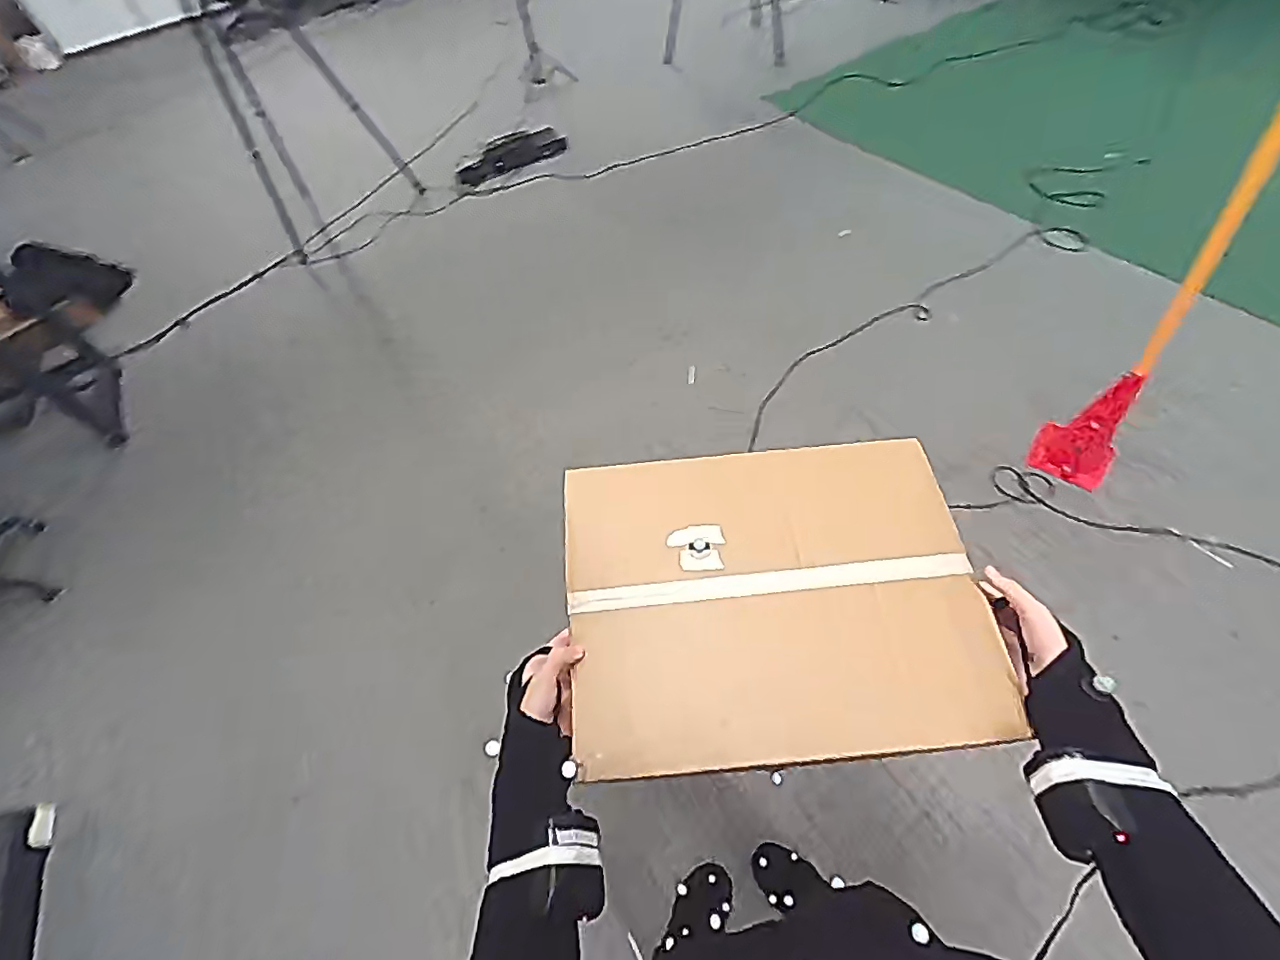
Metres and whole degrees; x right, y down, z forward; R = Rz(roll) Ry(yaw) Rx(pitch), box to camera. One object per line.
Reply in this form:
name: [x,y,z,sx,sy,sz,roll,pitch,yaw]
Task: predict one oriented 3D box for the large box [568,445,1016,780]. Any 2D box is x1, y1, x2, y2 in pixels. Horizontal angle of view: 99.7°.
large box: [0.137,0.183,0.682,0.408,0.320,0.320,-5,60,1]
